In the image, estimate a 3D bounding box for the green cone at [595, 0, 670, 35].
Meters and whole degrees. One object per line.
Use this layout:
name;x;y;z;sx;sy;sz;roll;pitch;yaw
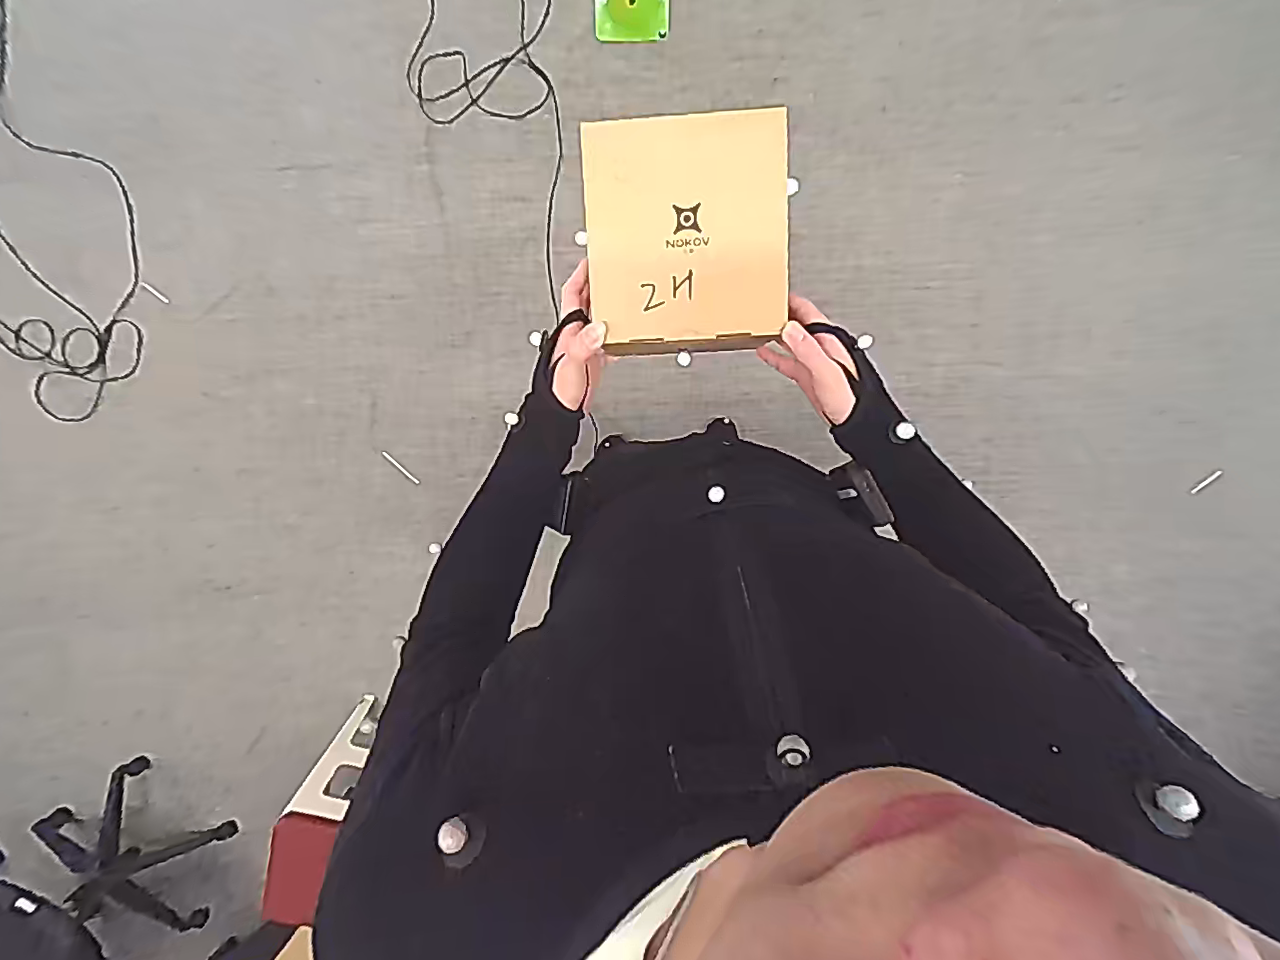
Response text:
green cone;-0.028;-1.273;1.263;0.202;0.368;0.200;0;97;3
